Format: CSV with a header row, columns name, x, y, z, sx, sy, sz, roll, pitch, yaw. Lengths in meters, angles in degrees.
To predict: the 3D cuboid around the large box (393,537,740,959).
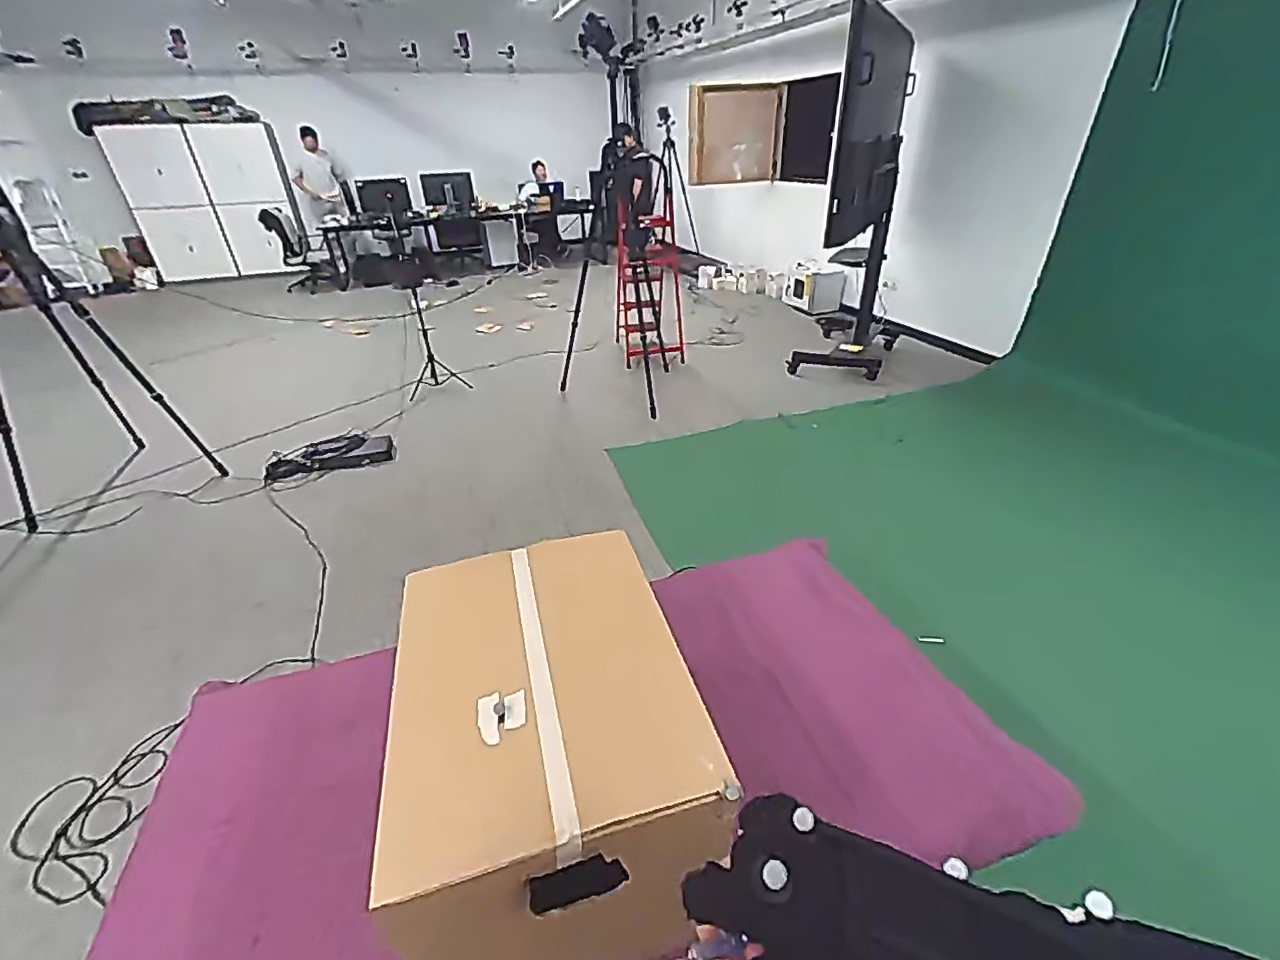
name,x,y,z,sx,sy,sz,roll,pitch,yaw
large box,-0.108,0.334,0.703,0.320,0.320,0.408,-10,33,-13
